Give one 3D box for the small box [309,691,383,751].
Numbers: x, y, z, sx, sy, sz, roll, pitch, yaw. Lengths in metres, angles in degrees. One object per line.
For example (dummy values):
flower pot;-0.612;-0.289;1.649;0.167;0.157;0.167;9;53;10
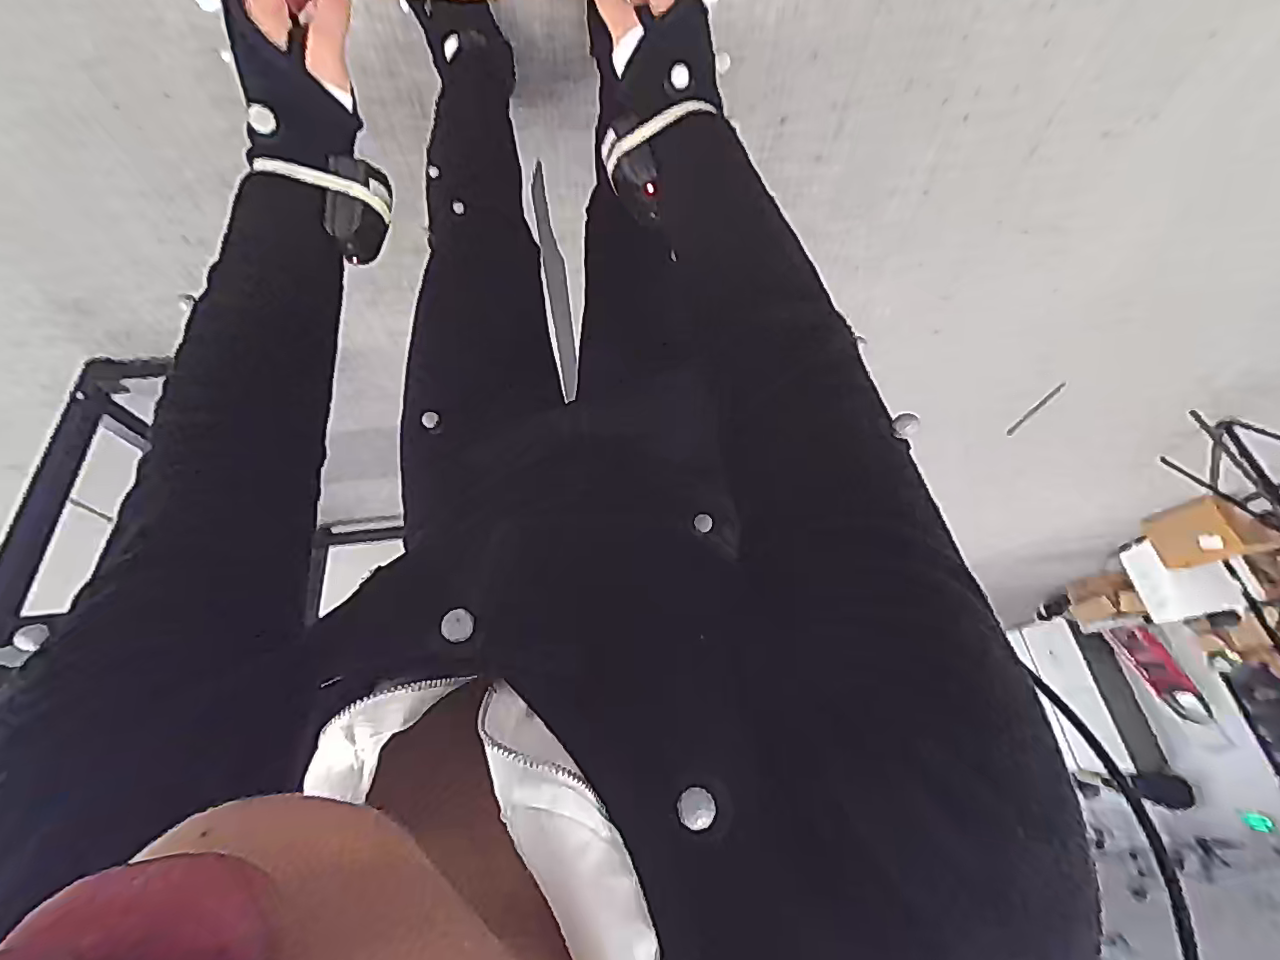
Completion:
small box;-1.025;0.845;1.900;0.168;0.176;0.179;-6;152;-2
